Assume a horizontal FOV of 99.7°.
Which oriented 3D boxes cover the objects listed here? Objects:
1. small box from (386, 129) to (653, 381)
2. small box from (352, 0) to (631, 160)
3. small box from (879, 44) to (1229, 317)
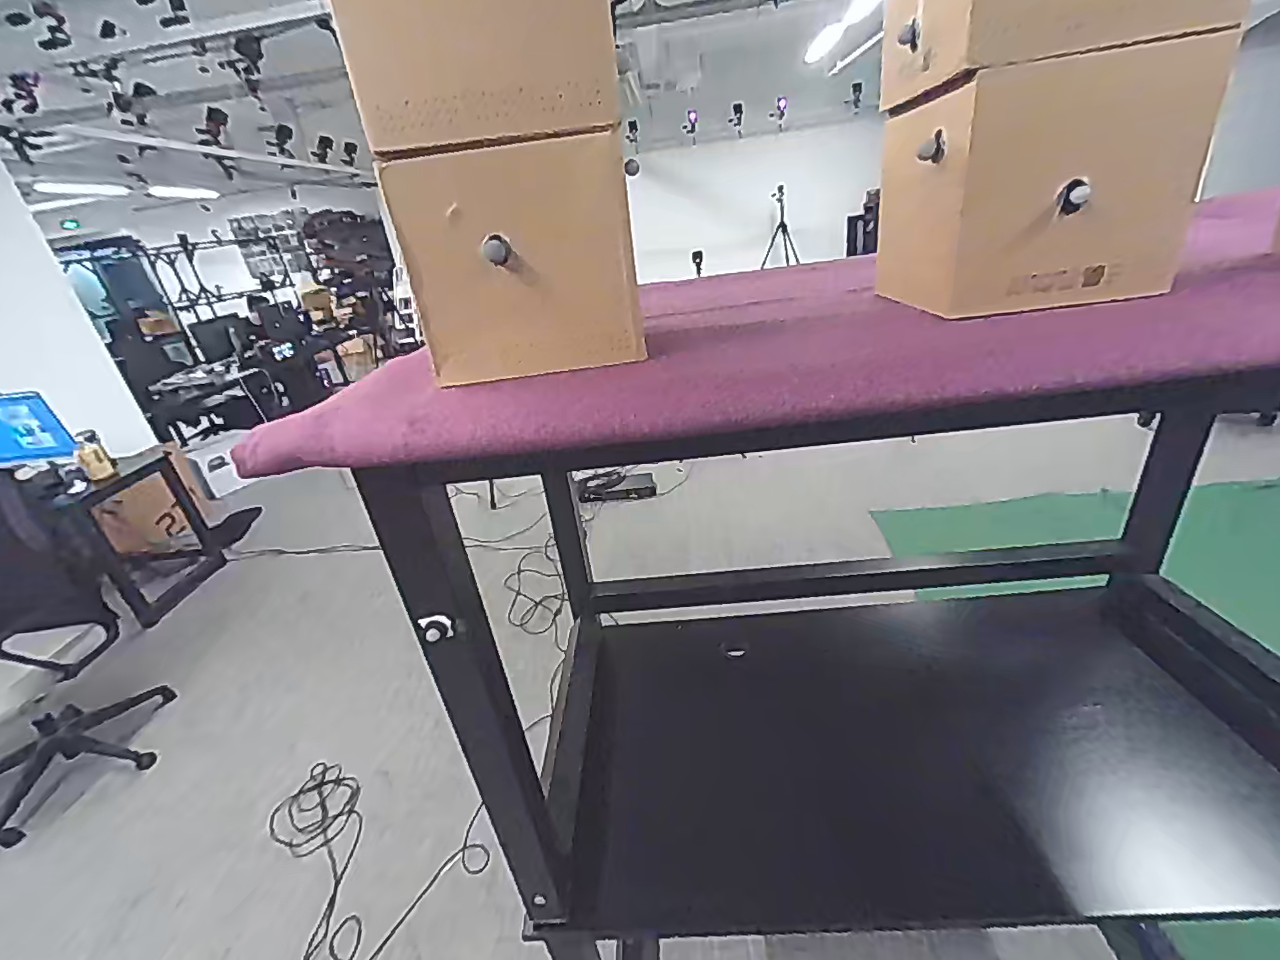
[{"bbox_3d":[-0.089,-0.195,0.487,0.179,0.176,0.168,-8,27,0],"label":"small box"},{"bbox_3d":[-0.107,-0.341,0.413,0.179,0.176,0.168,-7,27,-2],"label":"small box"},{"bbox_3d":[0.325,-0.243,0.474,0.168,0.176,0.179,-4,25,5],"label":"small box"}]
